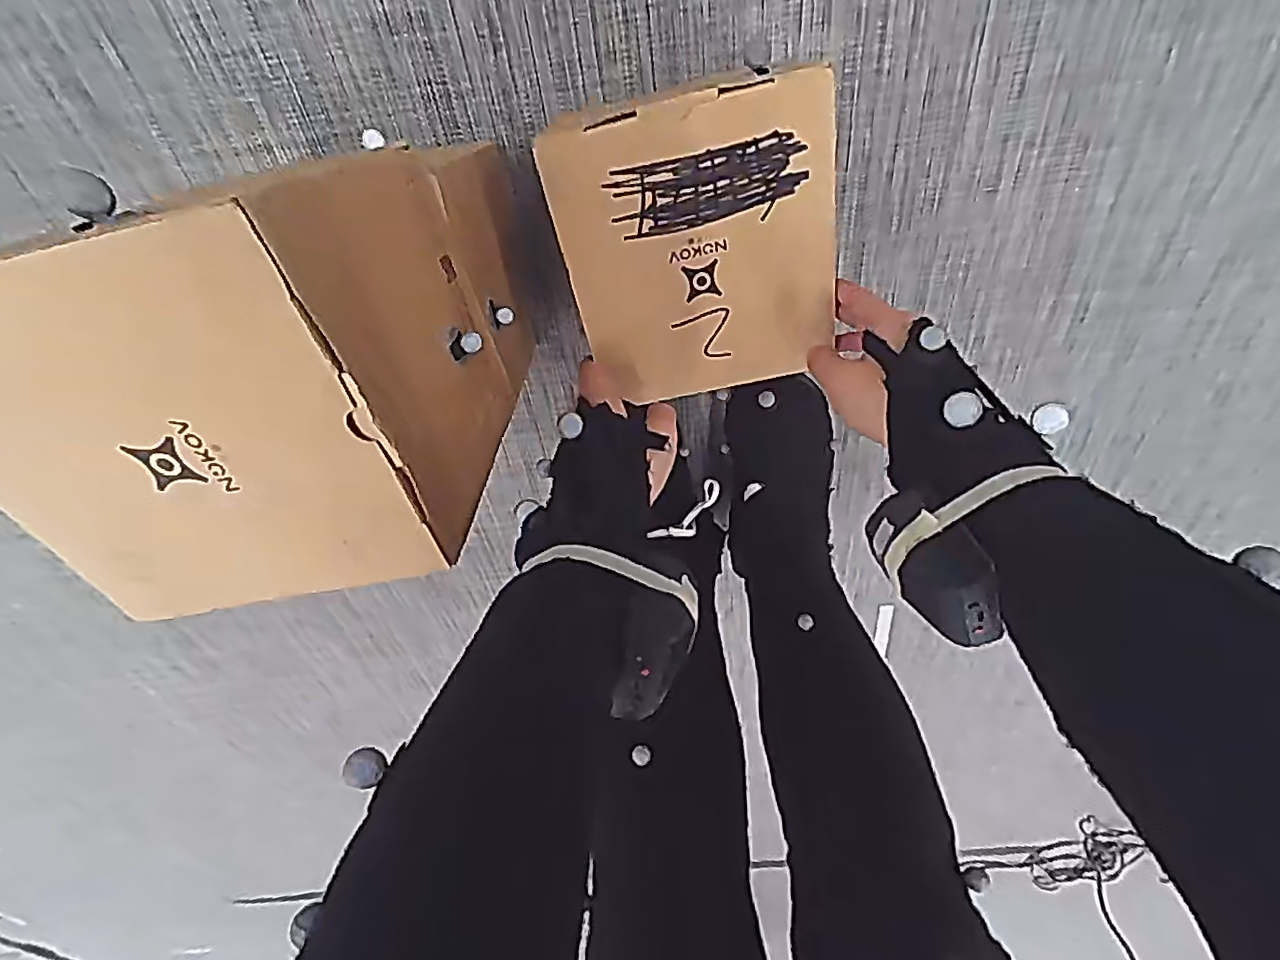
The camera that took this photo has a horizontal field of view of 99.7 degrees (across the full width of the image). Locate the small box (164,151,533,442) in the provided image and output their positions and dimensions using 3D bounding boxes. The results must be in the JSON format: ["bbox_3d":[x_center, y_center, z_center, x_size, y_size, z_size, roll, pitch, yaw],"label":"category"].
[{"bbox_3d":[-0.188,-0.141,0.422,0.168,0.176,0.179,-5,126,2],"label":"small box"}]

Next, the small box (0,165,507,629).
[{"bbox_3d":[-0.190,-0.050,0.286,0.179,0.176,0.168,-10,126,5],"label":"small box"}]
